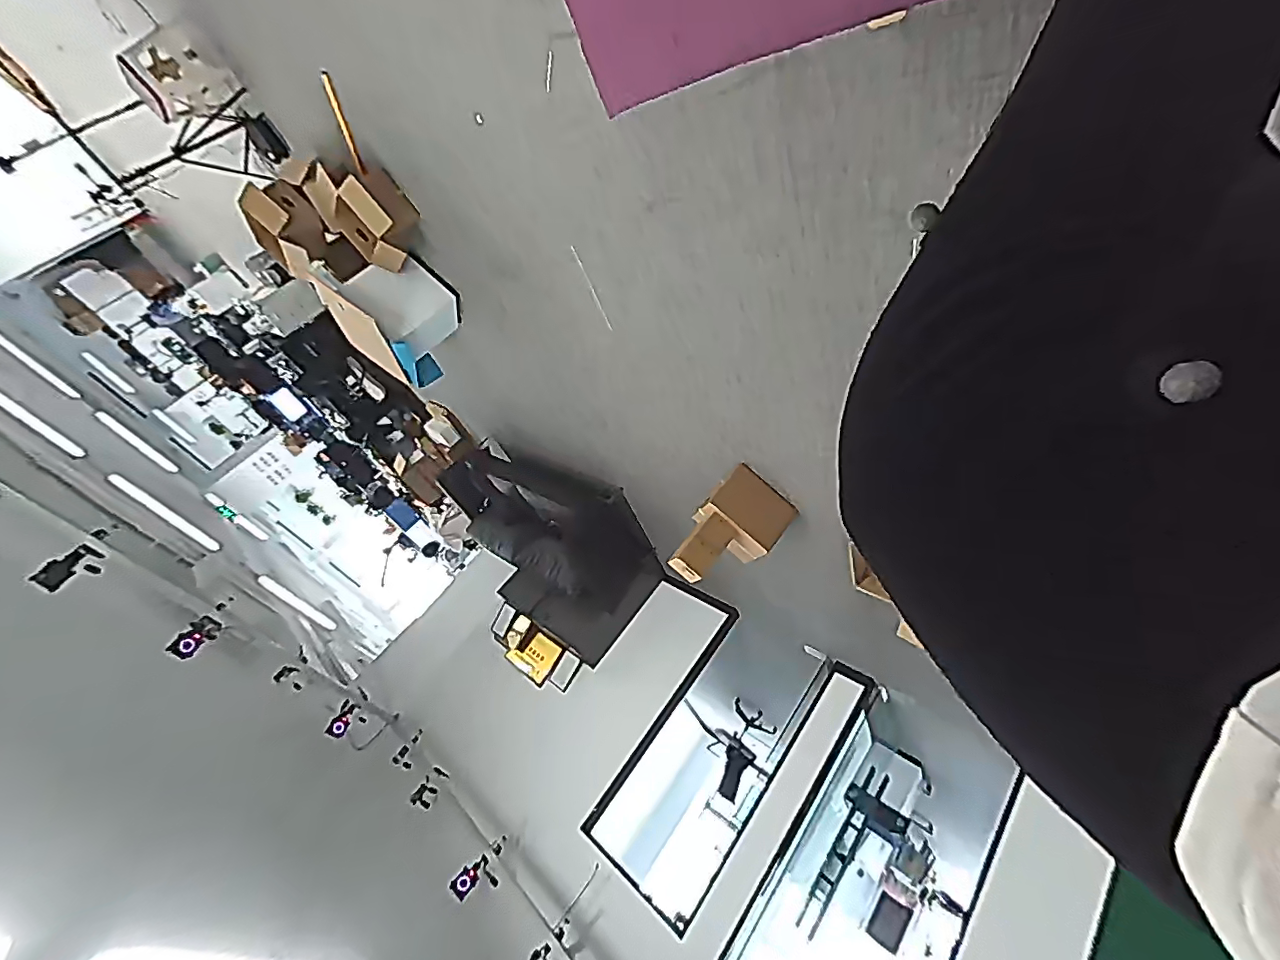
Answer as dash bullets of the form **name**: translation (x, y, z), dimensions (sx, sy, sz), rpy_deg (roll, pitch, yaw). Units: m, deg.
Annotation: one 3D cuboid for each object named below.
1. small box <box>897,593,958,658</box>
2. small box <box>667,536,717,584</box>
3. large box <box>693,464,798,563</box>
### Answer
- **small box**: translation (1.223, 0.617, 2.302), dimensions (0.168, 0.176, 0.179), rpy_deg (29, 154, 34)
- **small box**: translation (0.273, 0.408, 2.777), dimensions (0.168, 0.176, 0.179), rpy_deg (42, 158, 1)
- **large box**: translation (0.572, 0.187, 2.967), dimensions (0.408, 0.320, 0.320), rpy_deg (40, 158, 2)
